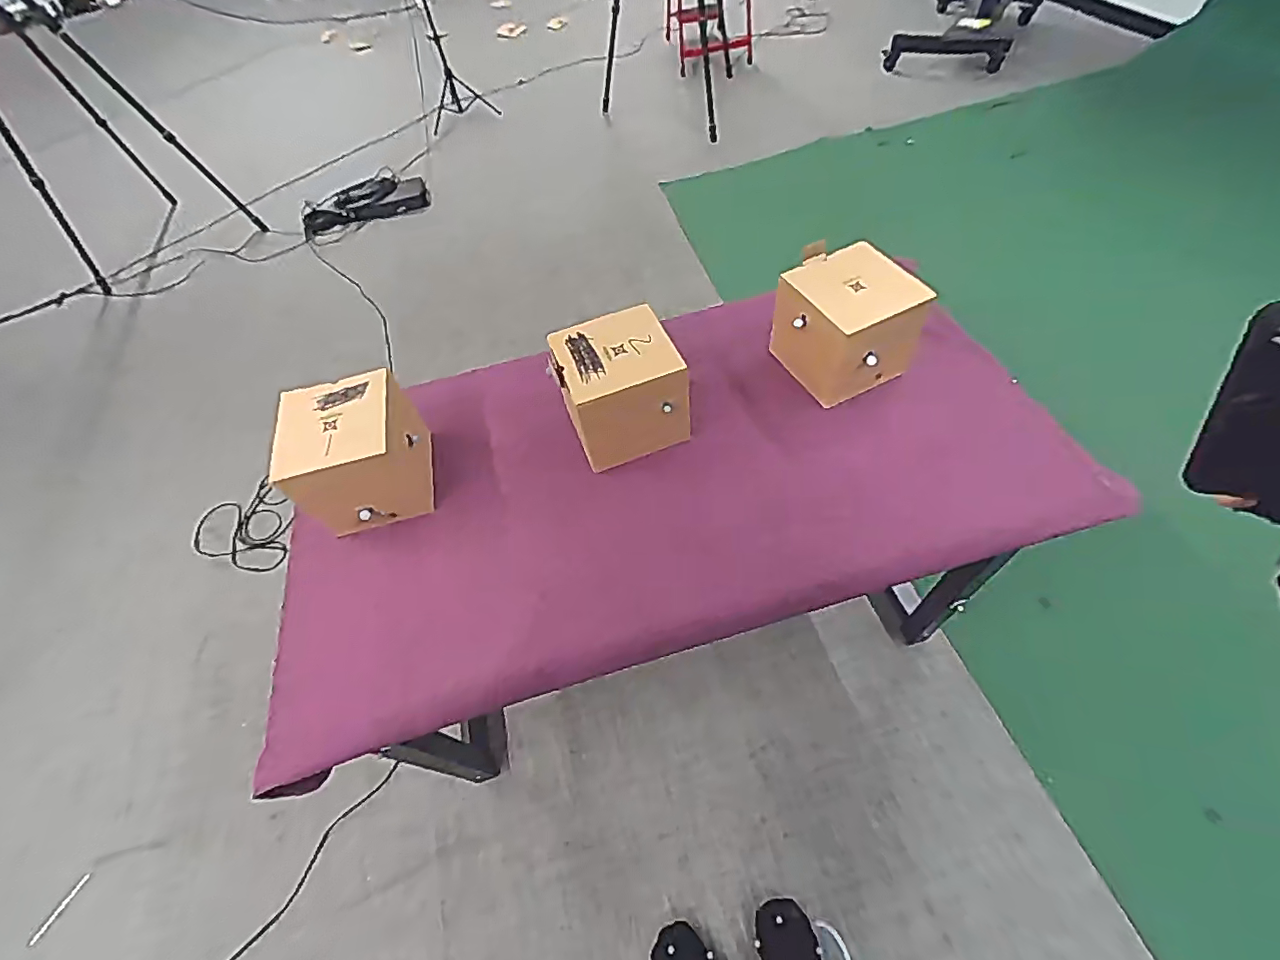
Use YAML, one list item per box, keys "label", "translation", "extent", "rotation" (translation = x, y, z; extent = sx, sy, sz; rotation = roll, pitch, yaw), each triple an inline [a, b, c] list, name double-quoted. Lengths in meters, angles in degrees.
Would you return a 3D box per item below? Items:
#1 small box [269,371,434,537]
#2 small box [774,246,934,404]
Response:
- label: "small box"
  translation: [-0.440, -0.037, 0.853]
  extent: [0.168, 0.176, 0.179]
  rotation: [-15, 57, -3]
- label: "small box"
  translation: [0.344, -0.251, 0.907]
  extent: [0.168, 0.176, 0.179]
  rotation: [-25, 56, -9]
